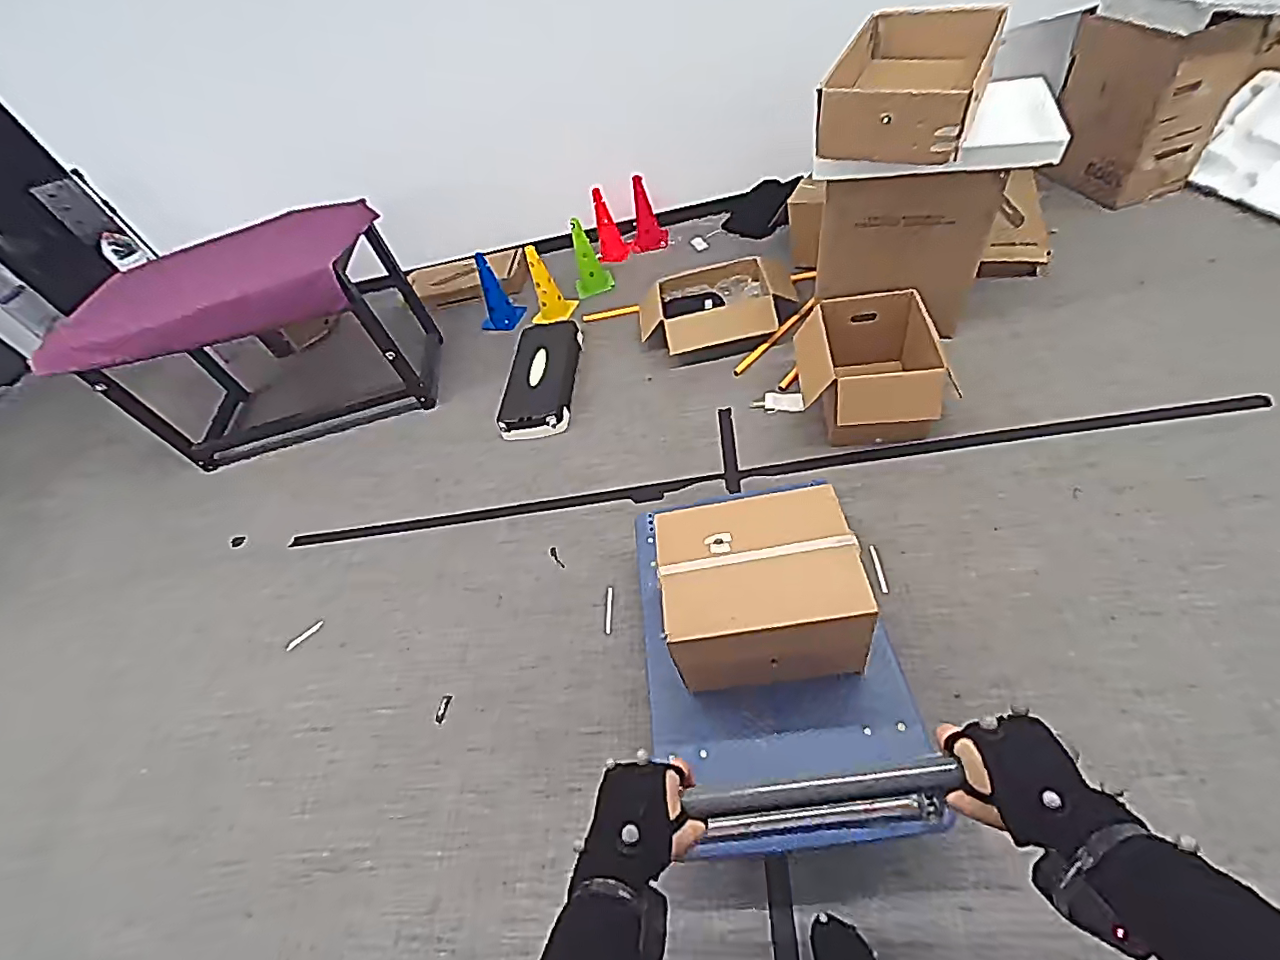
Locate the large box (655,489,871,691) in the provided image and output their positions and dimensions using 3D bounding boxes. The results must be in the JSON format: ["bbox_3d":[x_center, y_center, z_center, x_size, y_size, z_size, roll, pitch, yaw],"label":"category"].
[{"bbox_3d":[0.272,0.266,1.257,0.408,0.320,0.320,-12,48,8],"label":"large box"}]
